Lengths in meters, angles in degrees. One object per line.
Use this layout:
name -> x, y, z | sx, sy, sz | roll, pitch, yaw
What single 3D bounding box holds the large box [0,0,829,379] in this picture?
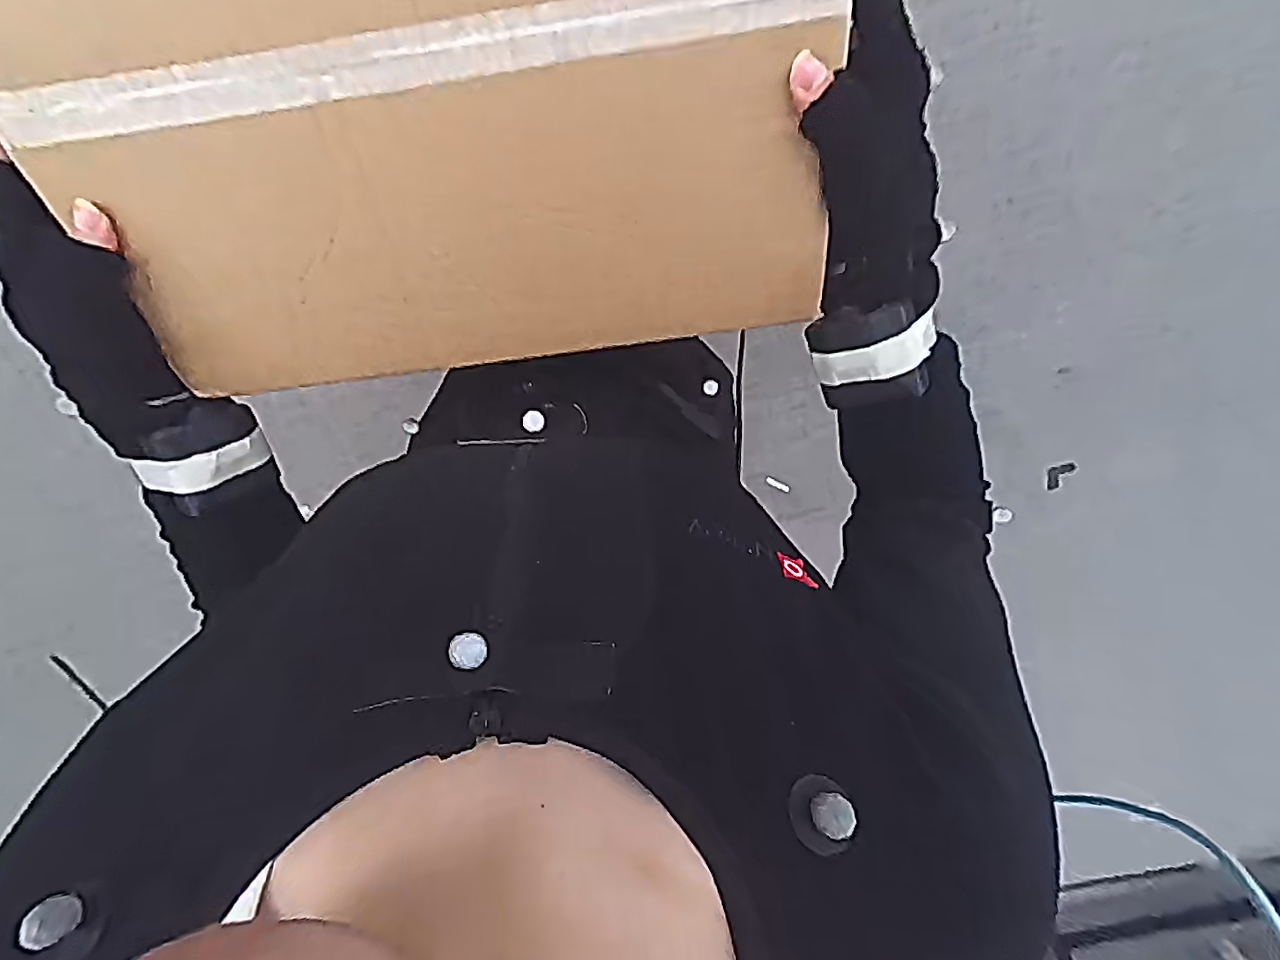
large box -> -0.114, -0.303, 0.361 | 0.408, 0.320, 0.320 | -7, 131, 2
